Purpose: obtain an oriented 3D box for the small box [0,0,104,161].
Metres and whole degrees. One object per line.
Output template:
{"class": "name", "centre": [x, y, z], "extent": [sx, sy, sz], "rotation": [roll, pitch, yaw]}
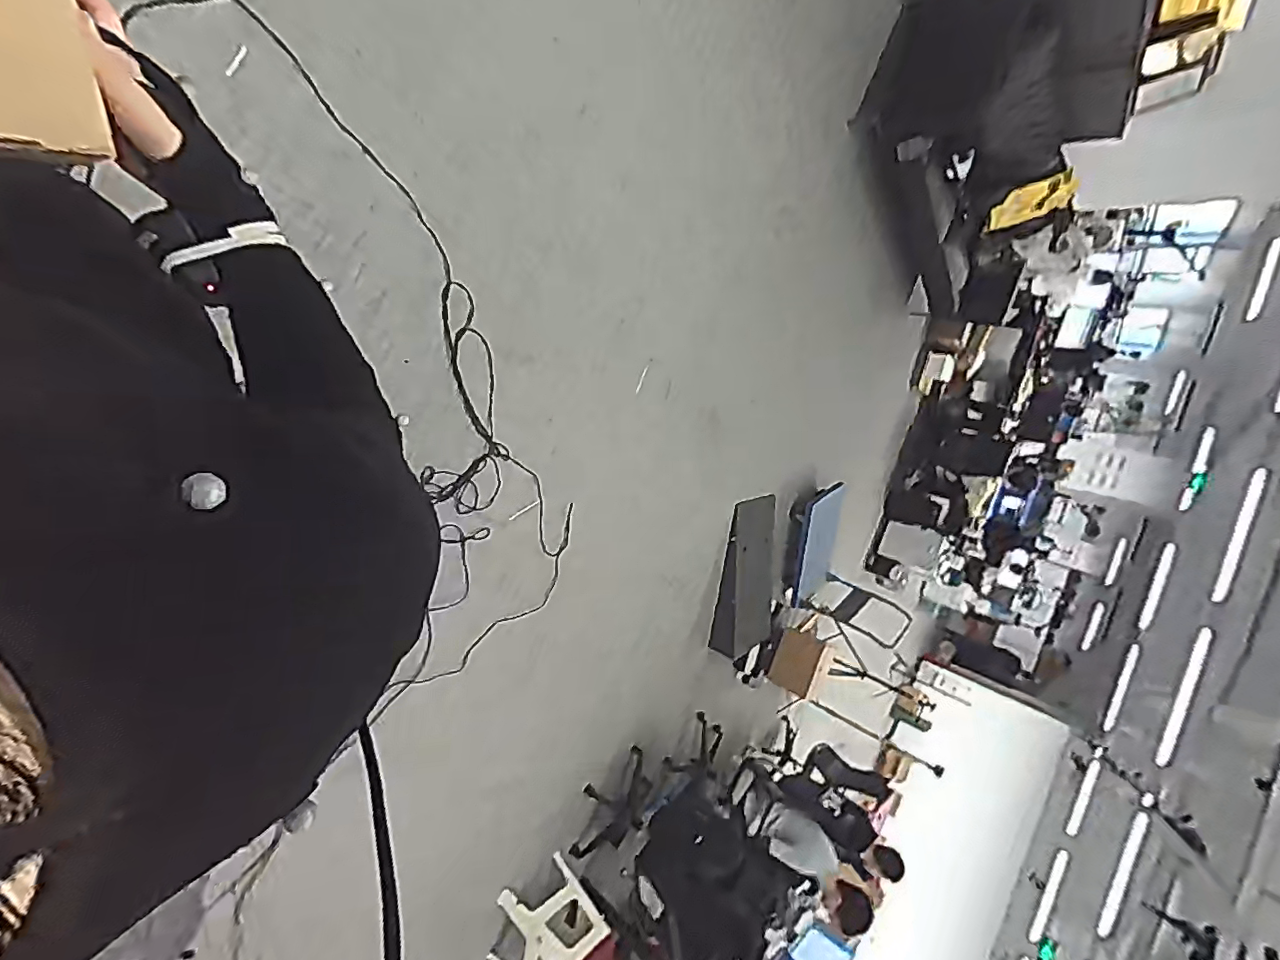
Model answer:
{"class": "small box", "centre": [-0.409, -0.273, 0.265], "extent": [0.168, 0.176, 0.179], "rotation": [-19, 123, -45]}
